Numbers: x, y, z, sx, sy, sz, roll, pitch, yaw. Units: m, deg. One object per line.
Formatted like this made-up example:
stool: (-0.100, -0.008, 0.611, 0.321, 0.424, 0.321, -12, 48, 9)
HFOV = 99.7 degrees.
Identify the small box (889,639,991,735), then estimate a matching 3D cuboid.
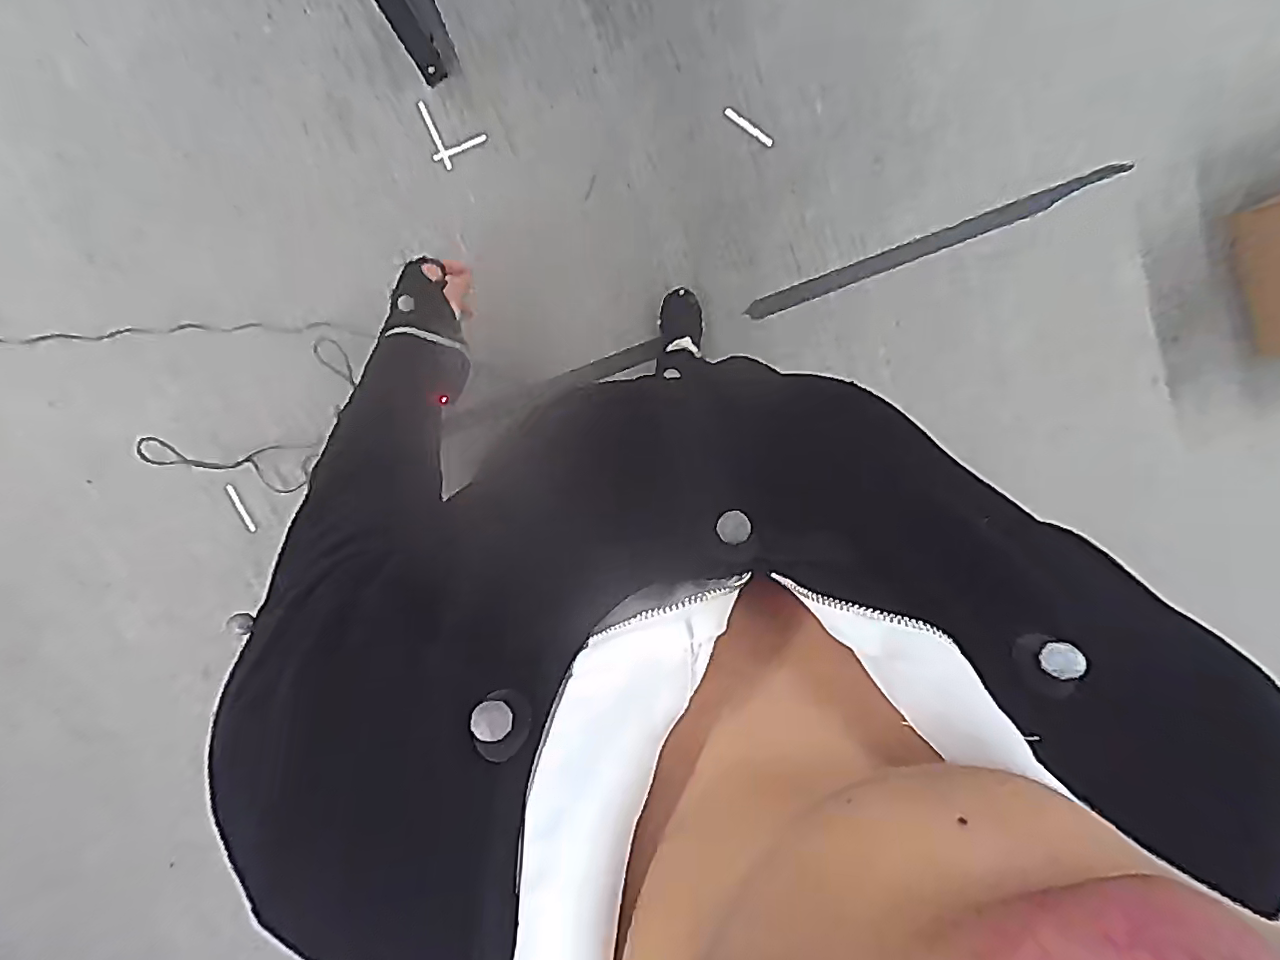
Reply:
small box: (0.845, 0.579, 1.533, 0.179, 0.176, 0.168, -20, 100, 3)
